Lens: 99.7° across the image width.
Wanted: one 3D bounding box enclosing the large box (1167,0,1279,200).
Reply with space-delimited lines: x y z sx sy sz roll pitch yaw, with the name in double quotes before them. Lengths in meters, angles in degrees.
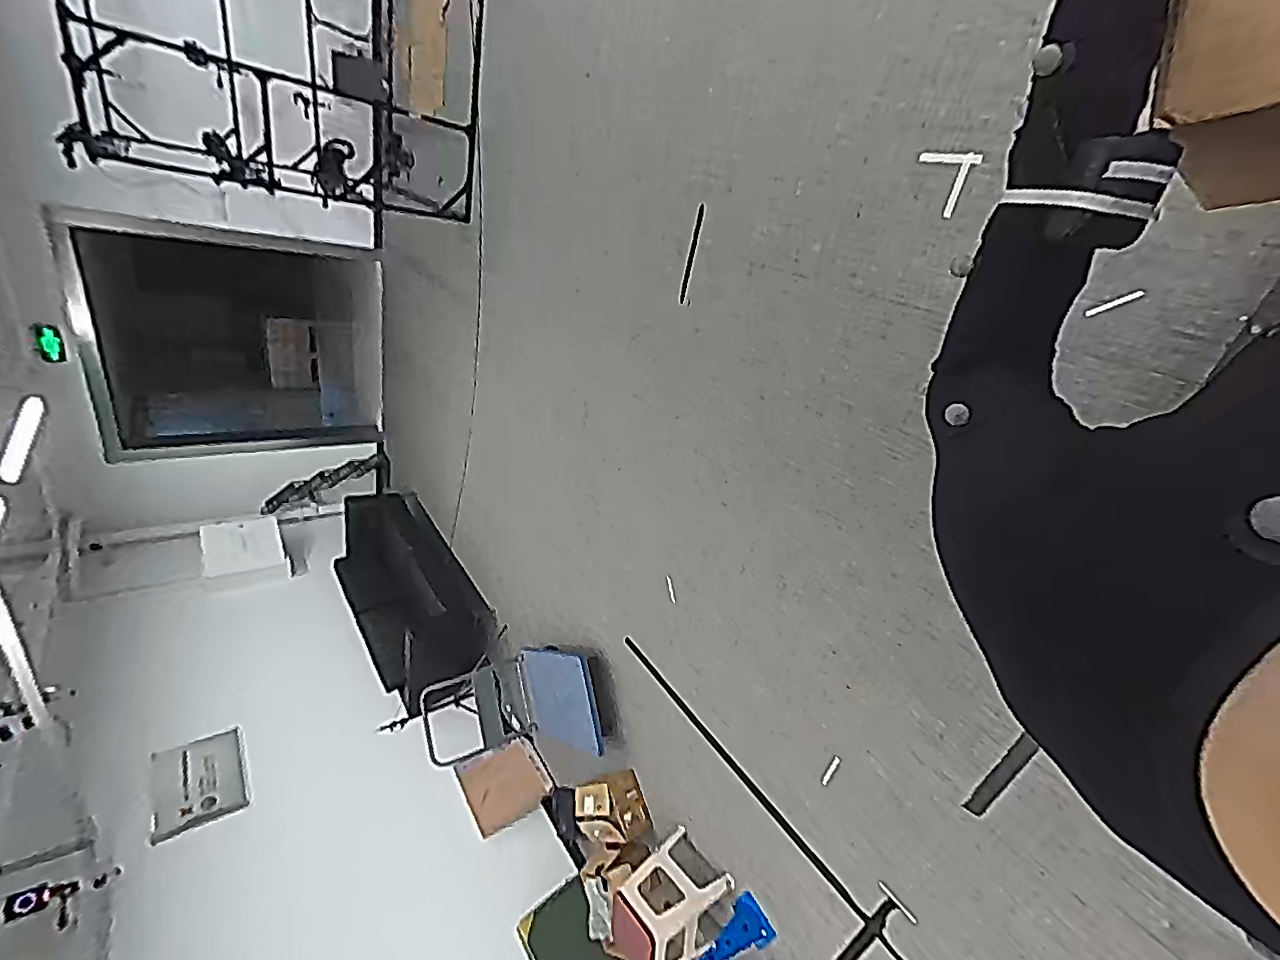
"large box" 0.578 -0.377 0.268 0.408 0.320 0.320 14 109 48
